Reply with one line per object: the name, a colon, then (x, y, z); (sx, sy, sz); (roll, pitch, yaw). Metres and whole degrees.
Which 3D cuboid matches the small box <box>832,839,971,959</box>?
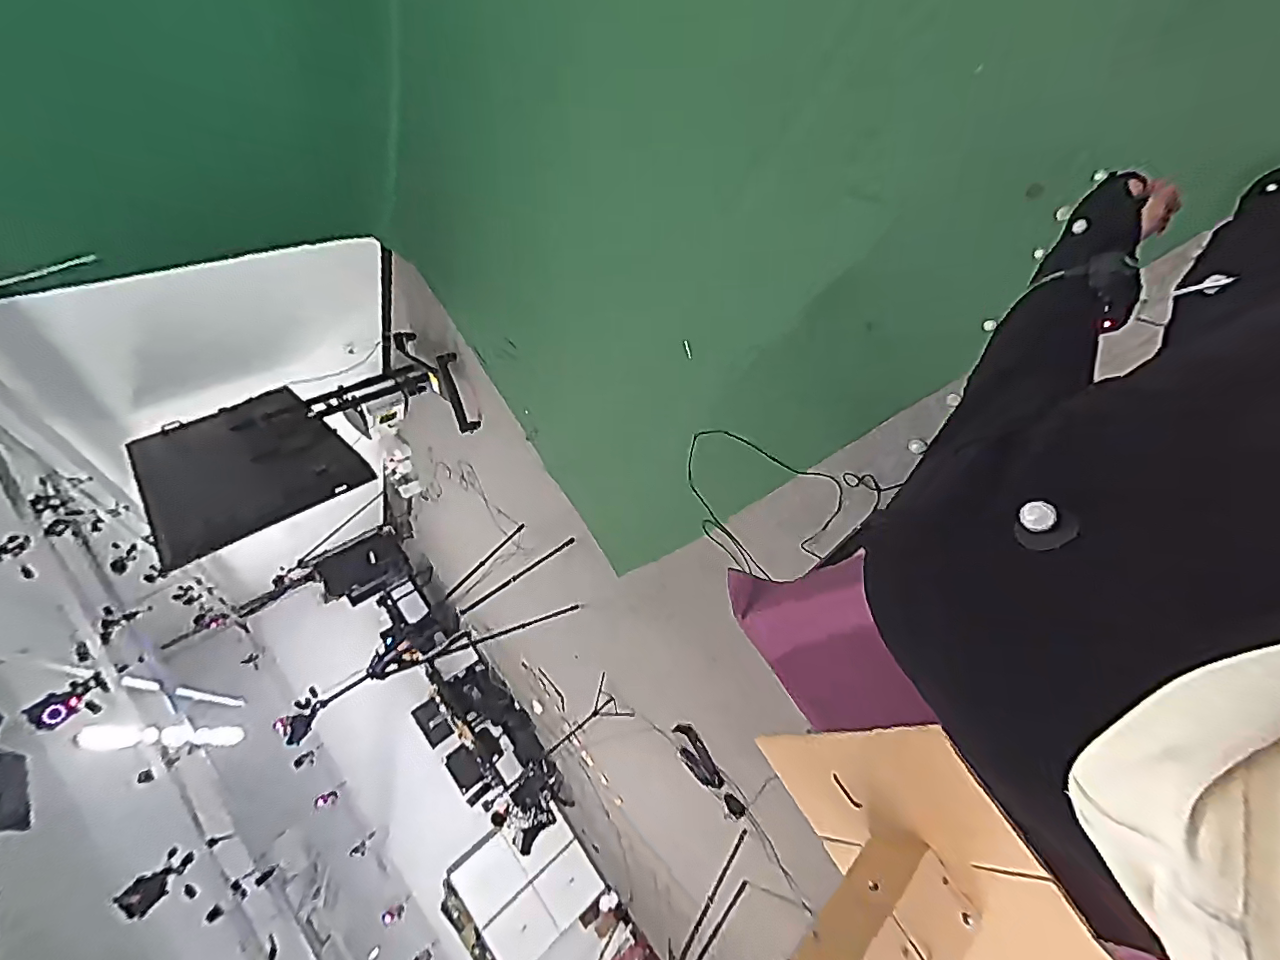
small box: (0.545, 0.881, 1.116); (0.168, 0.176, 0.179); (56, 147, 10)
